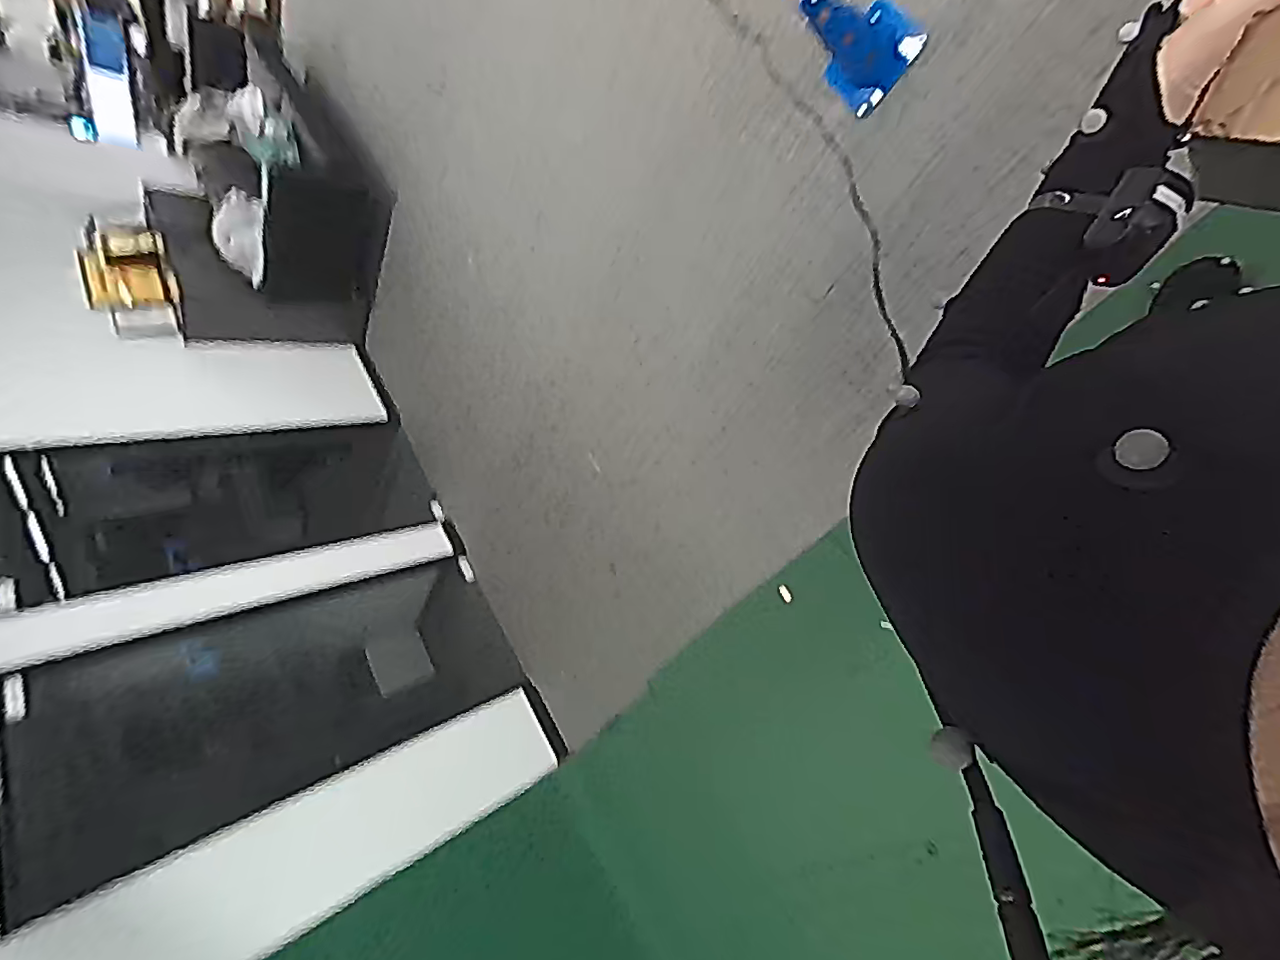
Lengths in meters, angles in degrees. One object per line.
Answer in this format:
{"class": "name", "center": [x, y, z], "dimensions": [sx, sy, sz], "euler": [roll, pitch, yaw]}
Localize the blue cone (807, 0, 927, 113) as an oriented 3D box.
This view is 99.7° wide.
{"class": "blue cone", "center": [0.493, -1.055, 1.268], "dimensions": [0.193, 0.380, 0.192], "euler": [-43, 68, 42]}
